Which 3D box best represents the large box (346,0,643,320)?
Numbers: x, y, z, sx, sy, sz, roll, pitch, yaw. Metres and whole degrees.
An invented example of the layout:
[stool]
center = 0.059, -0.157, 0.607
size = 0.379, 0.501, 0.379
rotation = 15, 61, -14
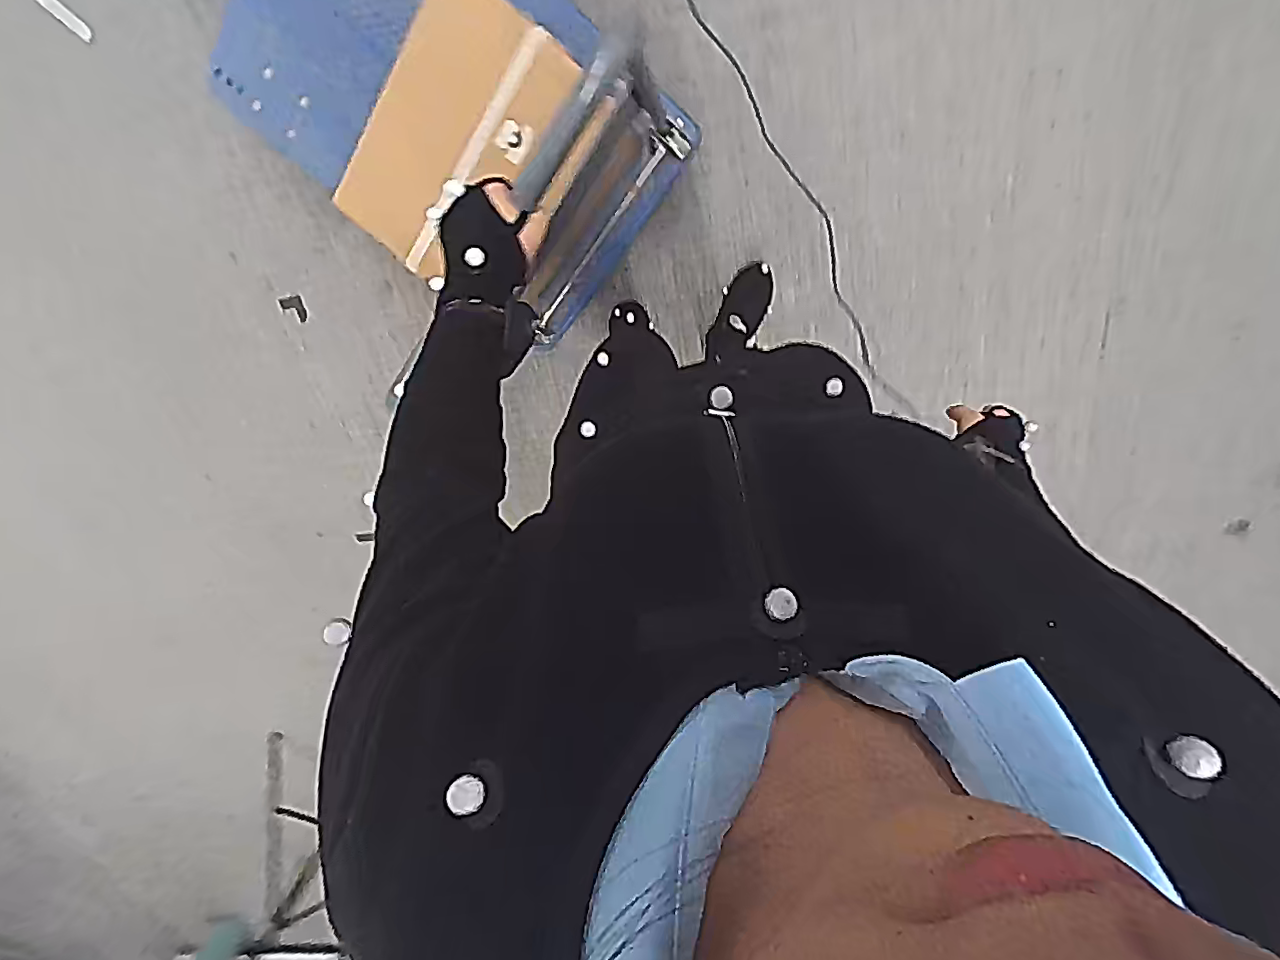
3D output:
[large box]
center = -0.244, -0.566, 0.994
size = 0.320, 0.320, 0.408
rotation = 38, 112, -12
